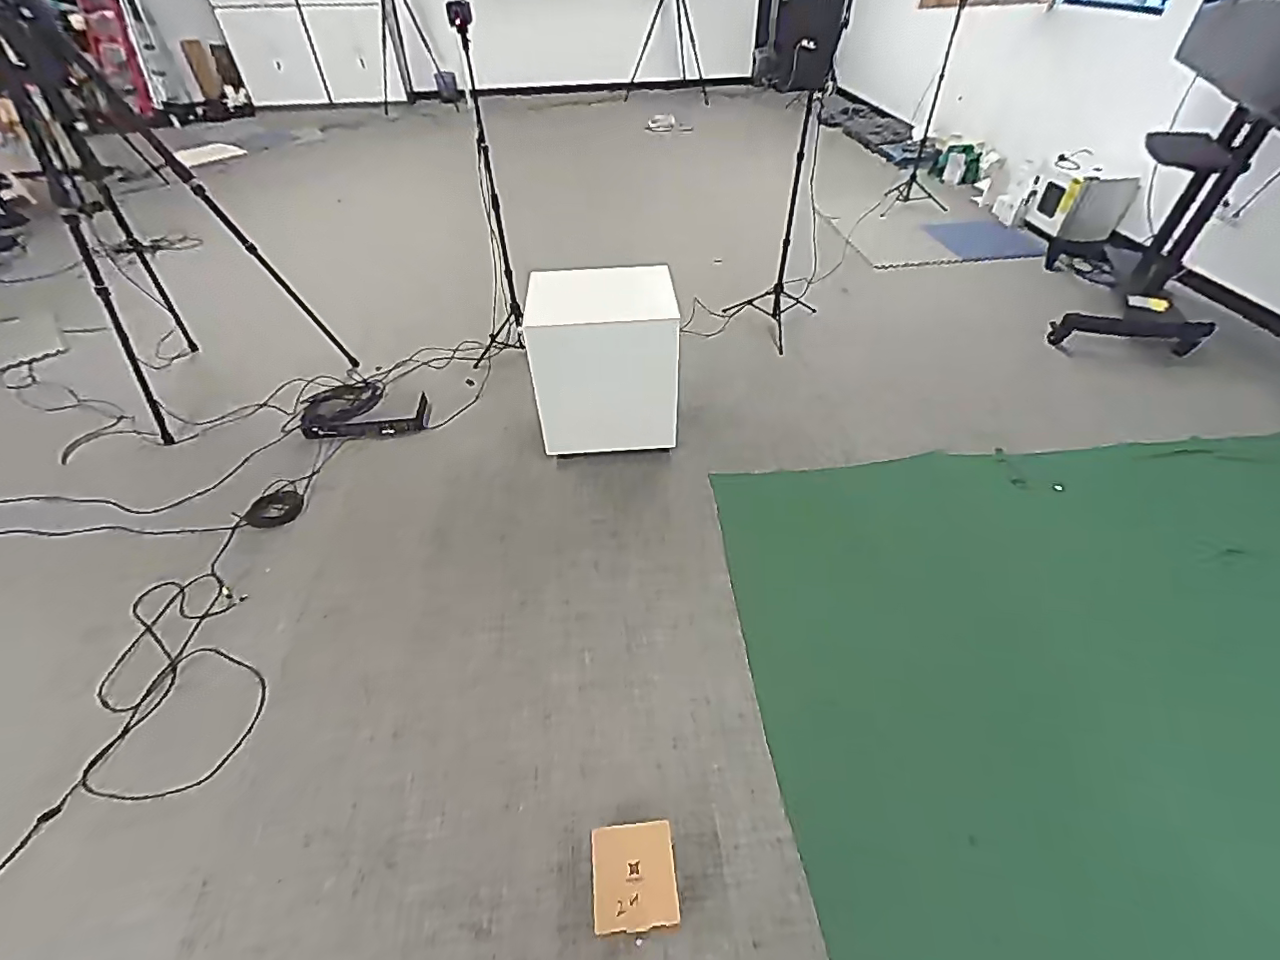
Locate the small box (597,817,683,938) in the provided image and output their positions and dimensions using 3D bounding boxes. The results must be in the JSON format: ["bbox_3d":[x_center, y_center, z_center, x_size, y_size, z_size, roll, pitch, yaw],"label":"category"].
[{"bbox_3d":[-0.003,0.841,1.143,0.168,0.176,0.179,-5,46,-2],"label":"small box"}]
